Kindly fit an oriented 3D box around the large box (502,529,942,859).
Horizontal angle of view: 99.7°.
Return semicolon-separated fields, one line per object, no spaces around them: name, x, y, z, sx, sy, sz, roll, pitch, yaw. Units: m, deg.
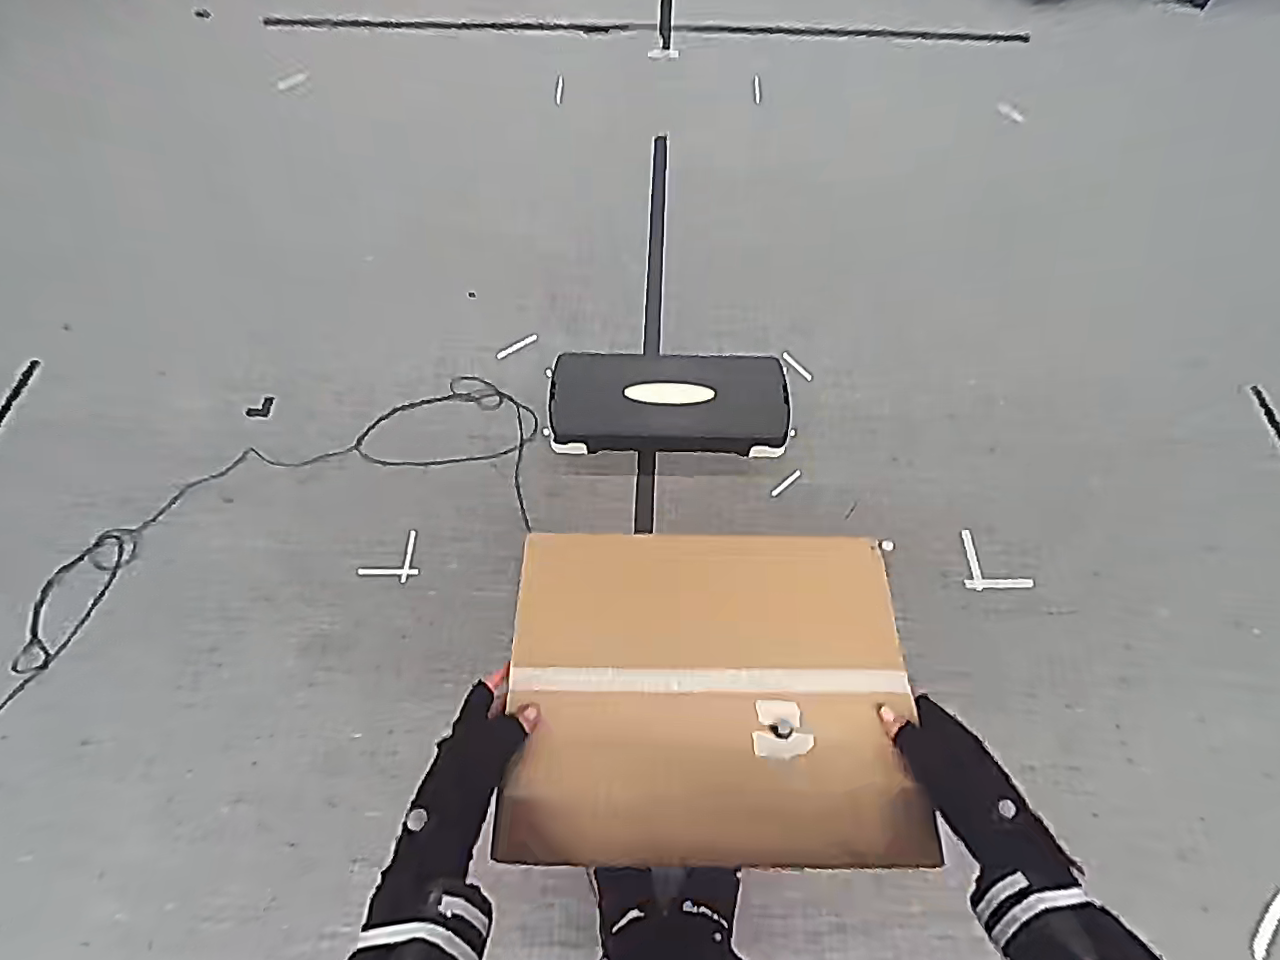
large box;0.069;0.262;0.678;0.408;0.320;0.320;1;63;-1
